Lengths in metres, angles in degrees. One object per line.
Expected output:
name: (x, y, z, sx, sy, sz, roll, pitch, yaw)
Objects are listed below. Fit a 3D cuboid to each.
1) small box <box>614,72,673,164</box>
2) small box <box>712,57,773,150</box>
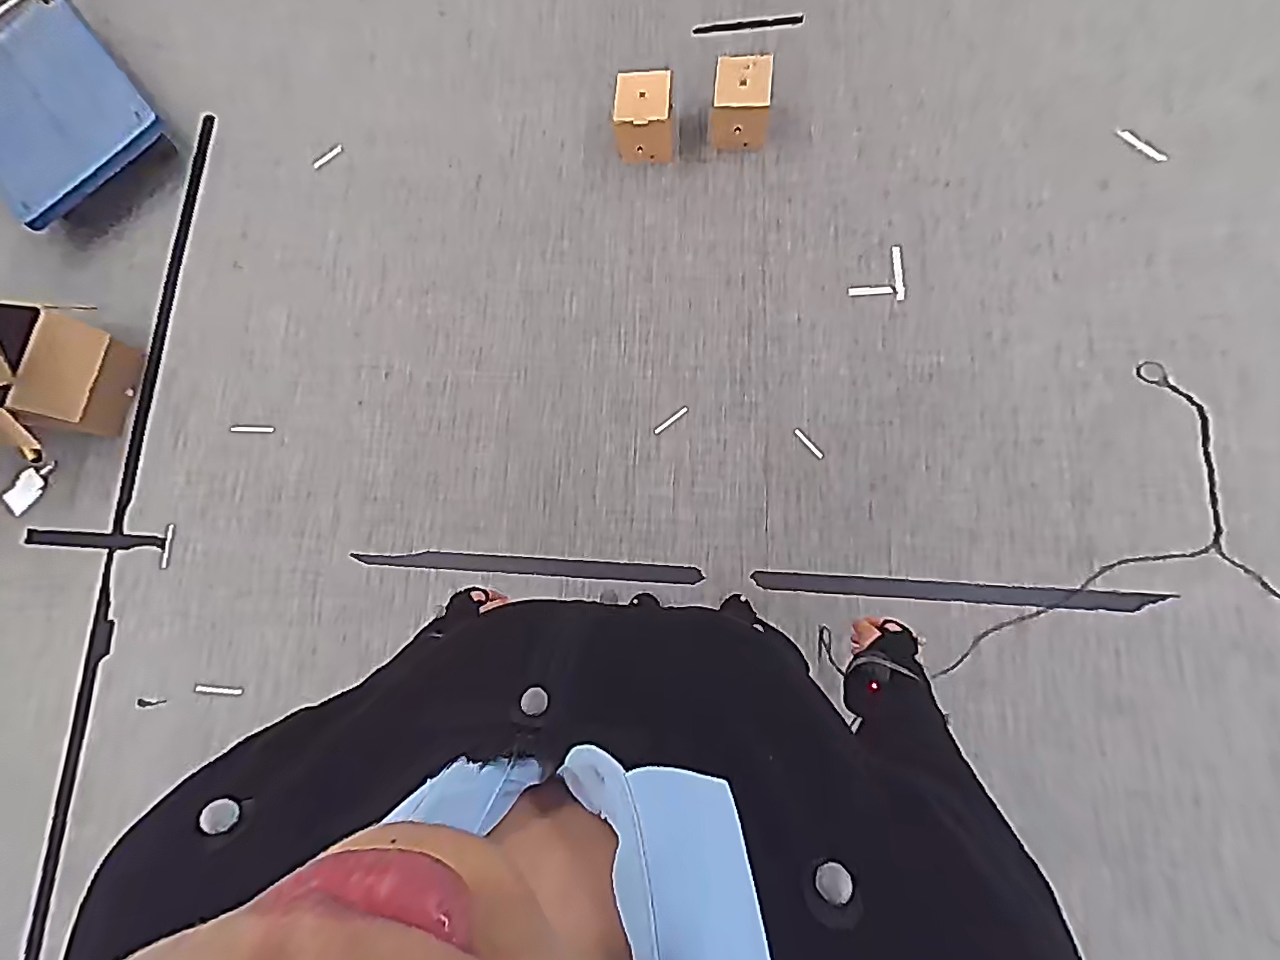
small box: (0.016, -1.135, 1.704, 0.168, 0.176, 0.179, 2, 80, 8)
small box: (0.312, -1.154, 1.668, 0.168, 0.176, 0.179, 5, 79, 7)
